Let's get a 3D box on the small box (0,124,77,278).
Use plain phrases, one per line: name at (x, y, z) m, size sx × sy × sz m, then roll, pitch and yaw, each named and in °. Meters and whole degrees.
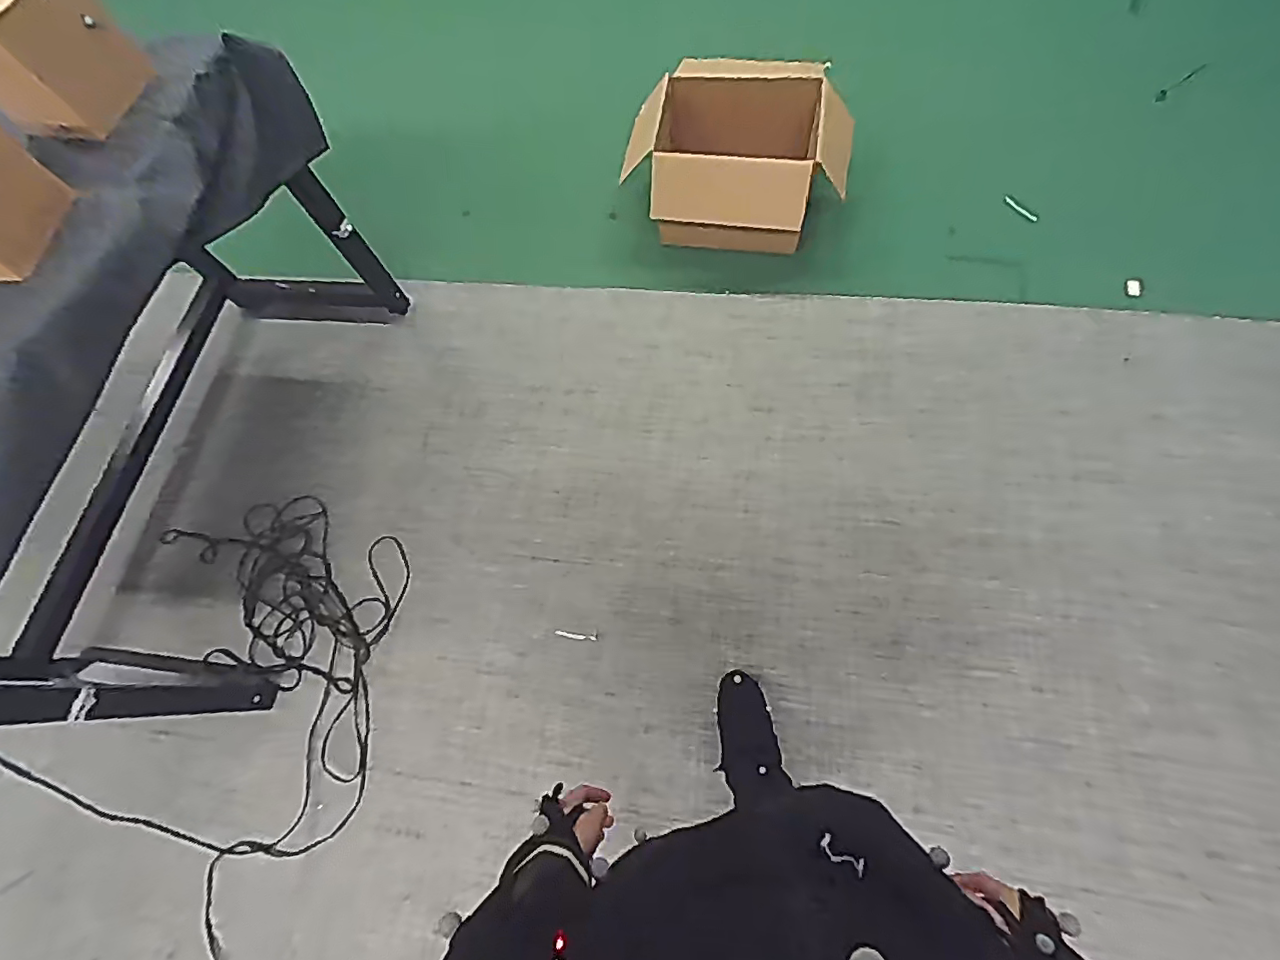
small box at (-0.986, -0.419, 0.775) m, size 0.168 × 0.176 × 0.179 m, roll 3°, pitch 70°, yaw 7°
